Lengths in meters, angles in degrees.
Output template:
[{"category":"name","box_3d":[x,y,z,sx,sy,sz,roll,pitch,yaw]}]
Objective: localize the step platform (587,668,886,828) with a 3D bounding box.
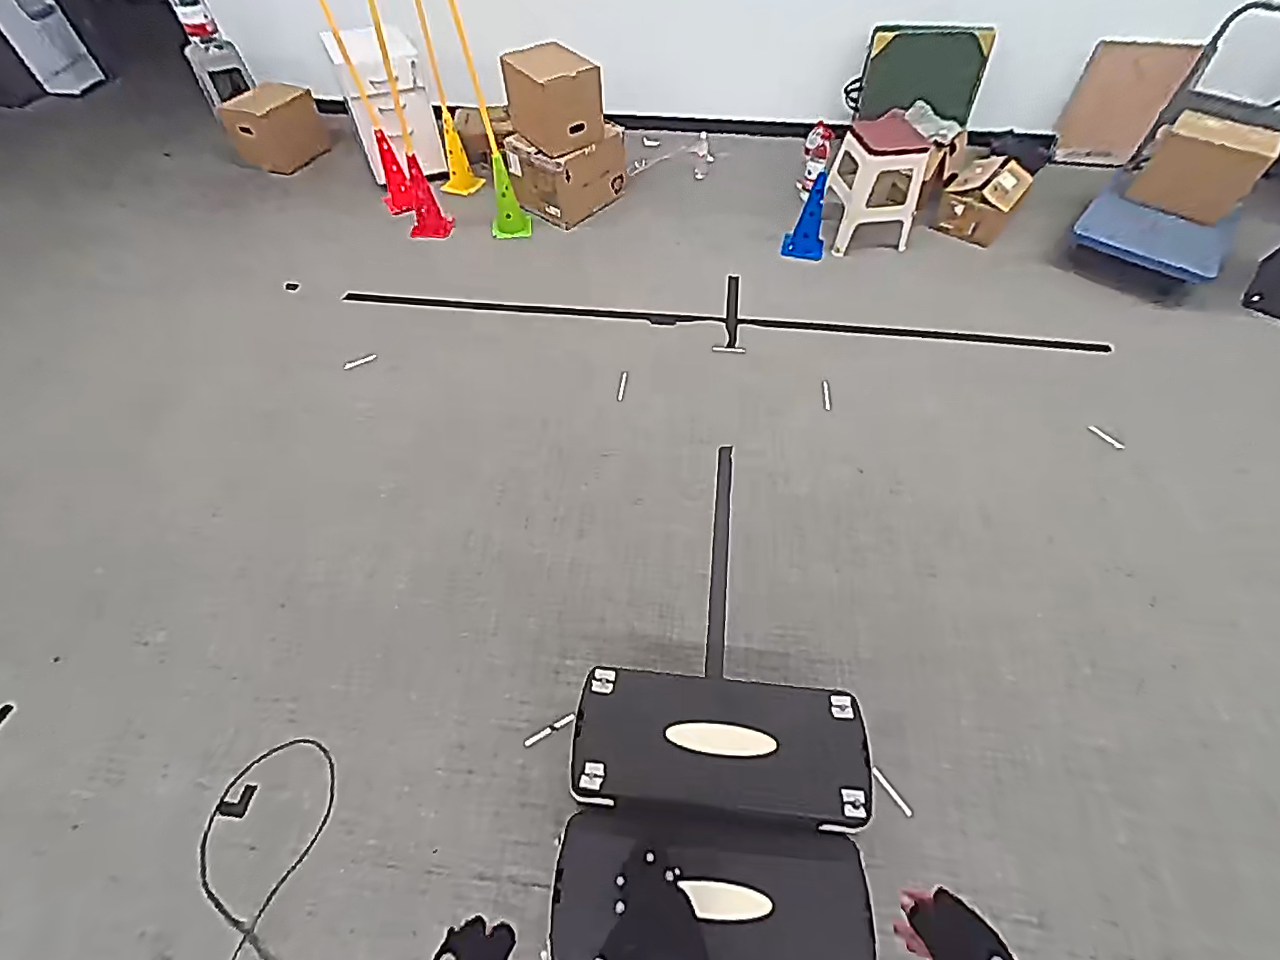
[{"category":"step platform","box_3d":[0.216,0.637,1.298,0.684,0.204,0.286,4,54,2]}]
